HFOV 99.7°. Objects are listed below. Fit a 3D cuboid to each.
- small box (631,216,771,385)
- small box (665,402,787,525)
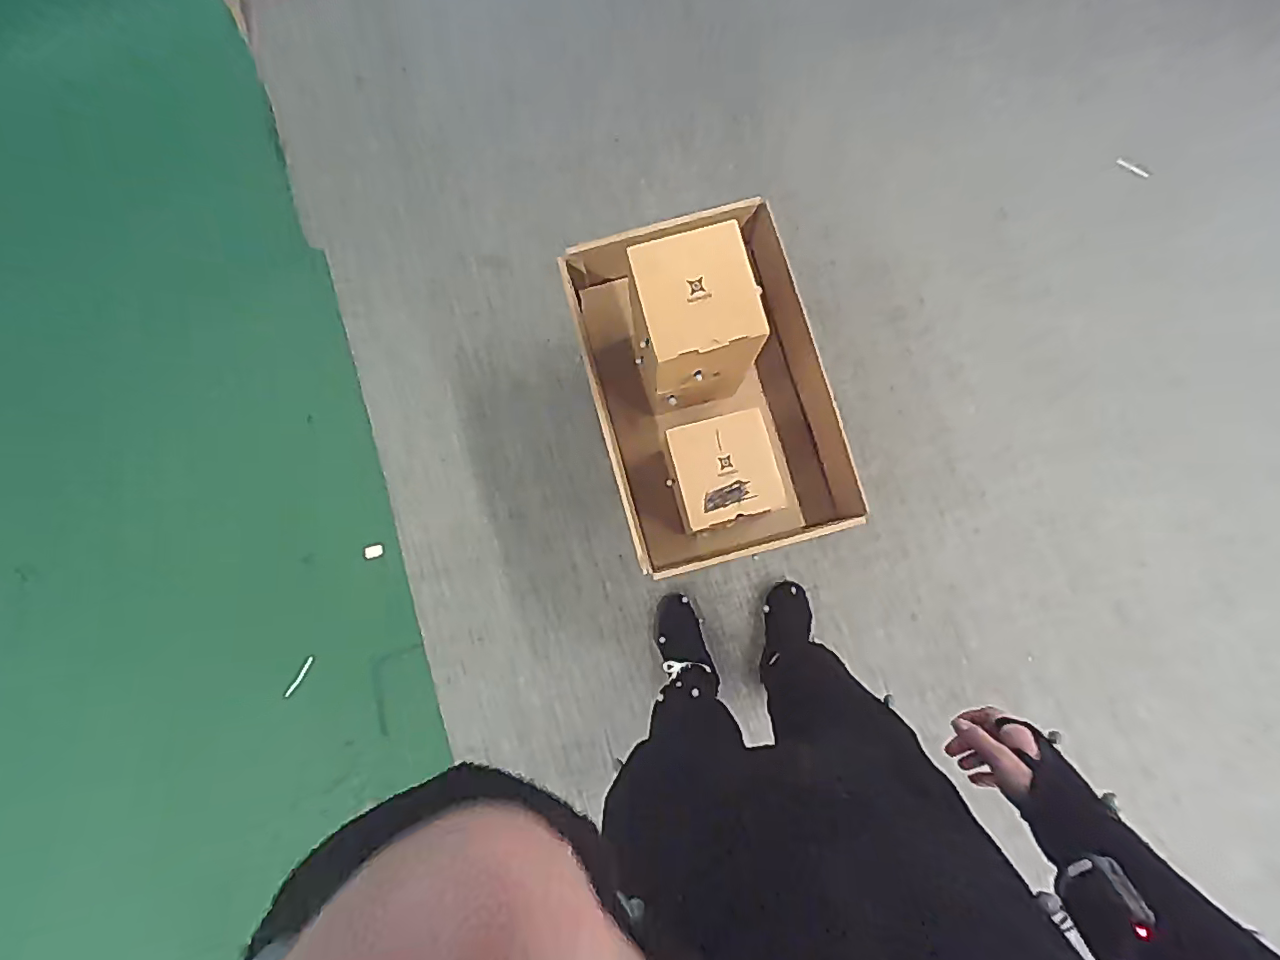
[{"bbox_3d":[0.084,-0.267,0.839,0.168,0.176,0.179,-15,85,0],"label":"small box"},{"bbox_3d":[0.145,-0.020,0.968,0.168,0.176,0.179,-14,81,0],"label":"small box"}]
